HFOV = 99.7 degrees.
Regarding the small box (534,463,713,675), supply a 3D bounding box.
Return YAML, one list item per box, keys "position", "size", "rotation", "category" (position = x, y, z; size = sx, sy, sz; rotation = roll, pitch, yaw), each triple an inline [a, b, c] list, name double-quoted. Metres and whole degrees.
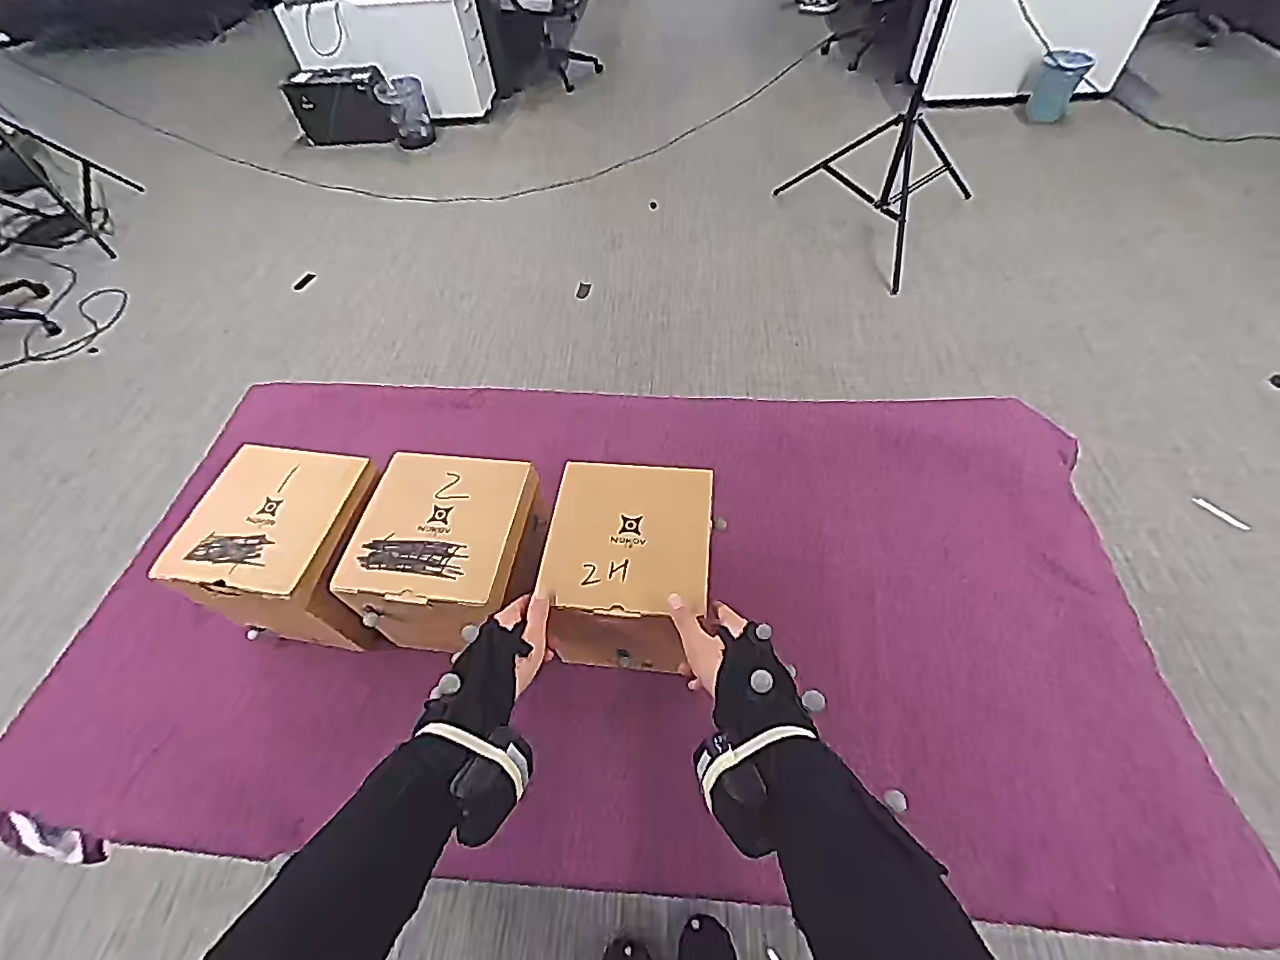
- position: [-0.007, 0.102, 0.616]
  size: [0.168, 0.176, 0.179]
  rotation: [3, 54, 7]
  category: "small box"
